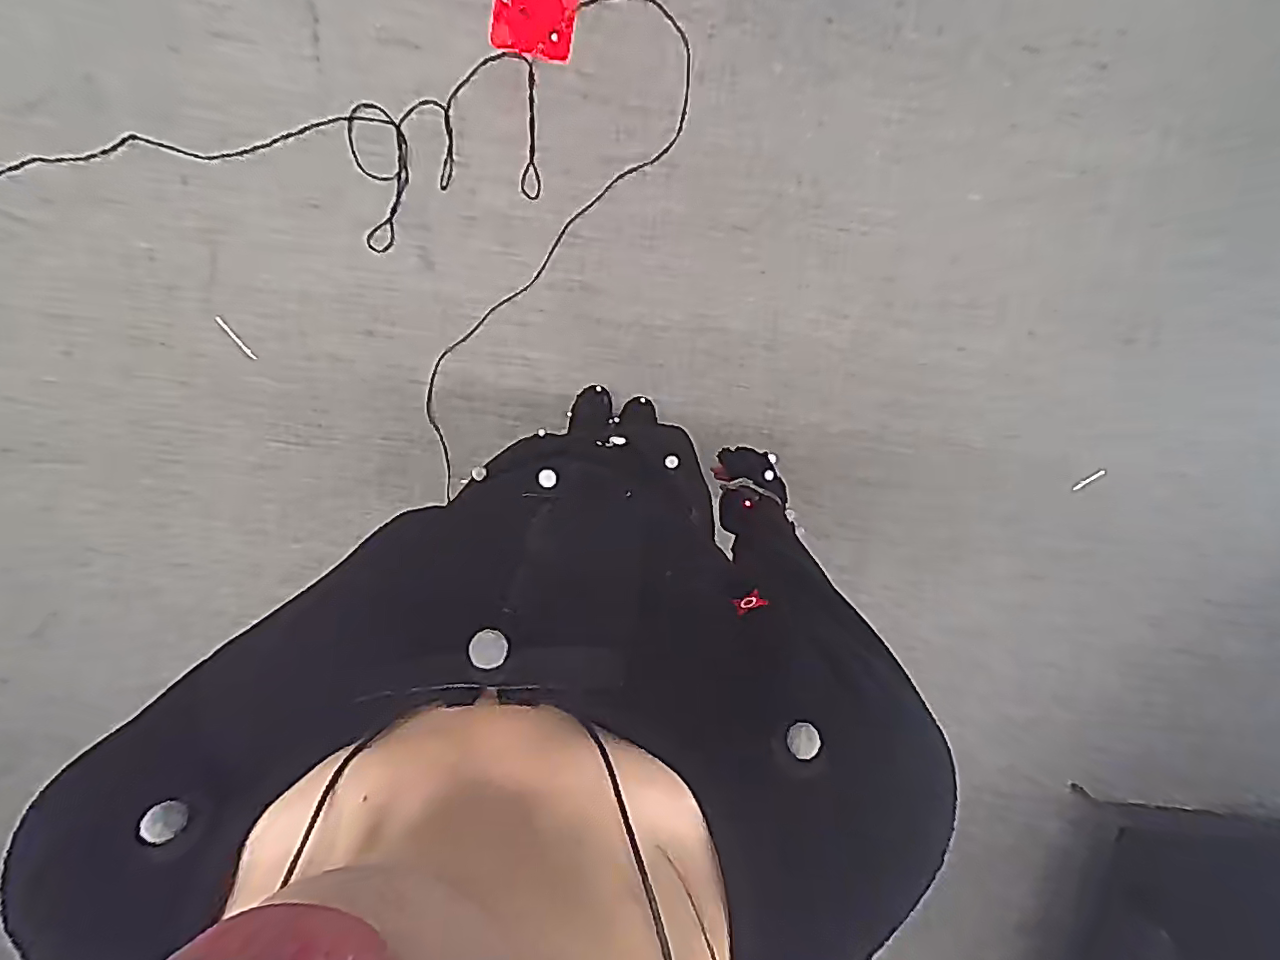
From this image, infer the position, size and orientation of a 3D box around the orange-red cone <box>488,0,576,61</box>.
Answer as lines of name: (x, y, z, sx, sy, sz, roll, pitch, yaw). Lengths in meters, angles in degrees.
orange-red cone: (-0.252, -1.119, 1.143, 0.198, 0.360, 0.199, 12, 98, -4)
